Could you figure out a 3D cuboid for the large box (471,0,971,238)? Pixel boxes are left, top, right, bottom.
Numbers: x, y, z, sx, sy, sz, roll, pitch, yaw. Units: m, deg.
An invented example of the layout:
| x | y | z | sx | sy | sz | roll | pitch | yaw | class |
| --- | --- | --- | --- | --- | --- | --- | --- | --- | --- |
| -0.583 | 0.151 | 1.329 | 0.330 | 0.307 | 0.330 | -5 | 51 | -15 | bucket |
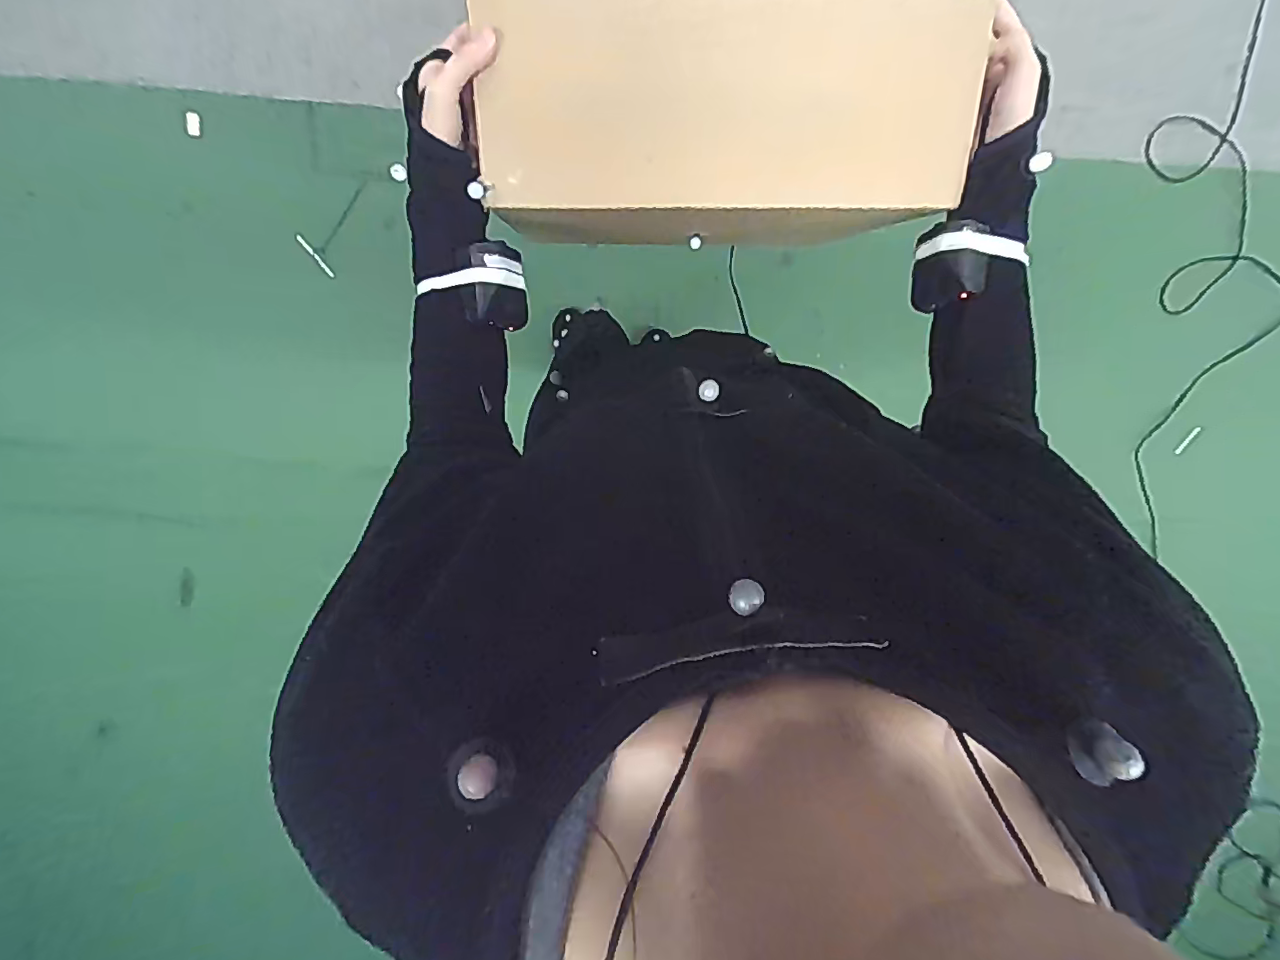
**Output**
| x | y | z | sx | sy | sz | roll | pitch | yaw | class |
| --- | --- | --- | --- | --- | --- | --- | --- | --- | --- |
| 0.060 | -0.433 | 0.559 | 0.408 | 0.320 | 0.320 | -2 | 108 | -3 | large box |
